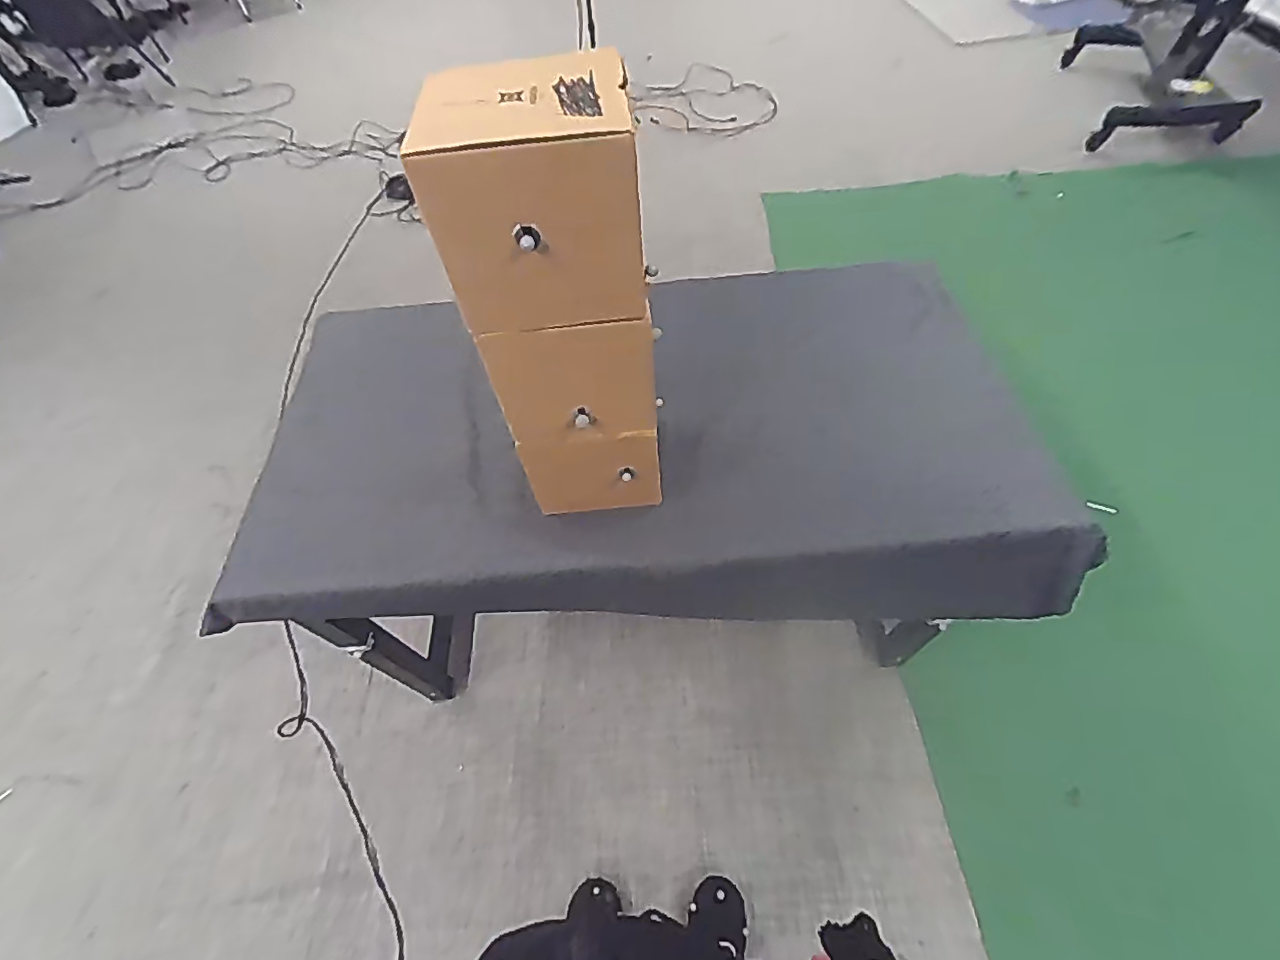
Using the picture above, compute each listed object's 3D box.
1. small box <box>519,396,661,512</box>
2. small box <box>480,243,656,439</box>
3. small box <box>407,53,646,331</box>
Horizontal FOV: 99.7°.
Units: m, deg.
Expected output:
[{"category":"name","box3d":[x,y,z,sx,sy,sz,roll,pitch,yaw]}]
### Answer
[{"category":"small box","box3d":[-0.062,-0.069,0.773,0.179,0.176,0.168,-6,54,1]},{"category":"small box","box3d":[-0.074,-0.166,0.642,0.179,0.176,0.168,-6,54,0]},{"category":"small box","box3d":[-0.087,-0.262,0.508,0.179,0.176,0.168,-6,55,1]}]
